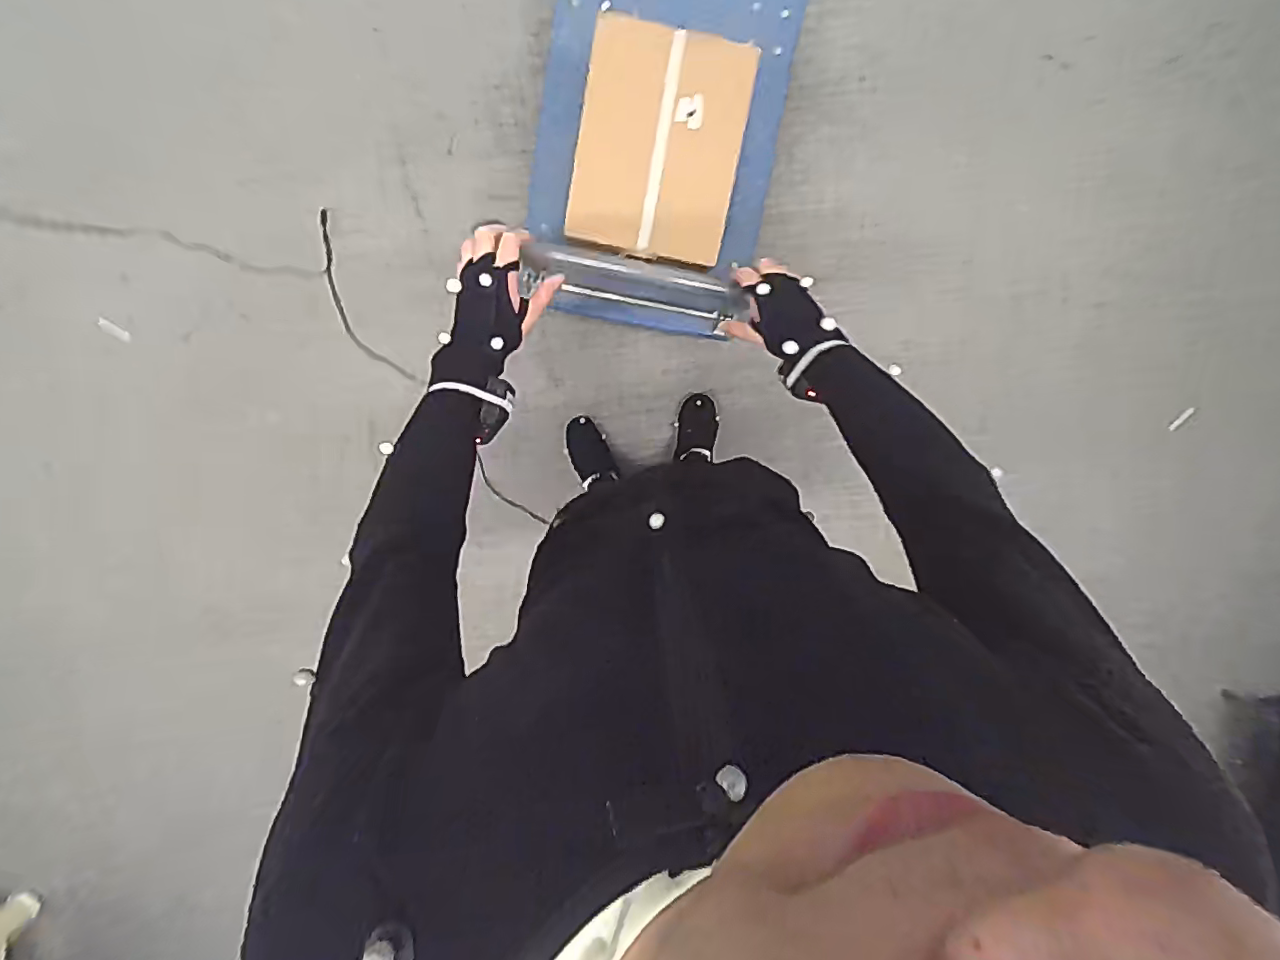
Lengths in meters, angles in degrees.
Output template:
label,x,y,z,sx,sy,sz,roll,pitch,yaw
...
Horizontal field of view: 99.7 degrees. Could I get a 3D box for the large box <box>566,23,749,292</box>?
label,x,y,z,sx,sy,sz,roll,pitch,yaw
large box,0.026,-0.674,1.210,0.320,0.320,0.408,10,98,-5
